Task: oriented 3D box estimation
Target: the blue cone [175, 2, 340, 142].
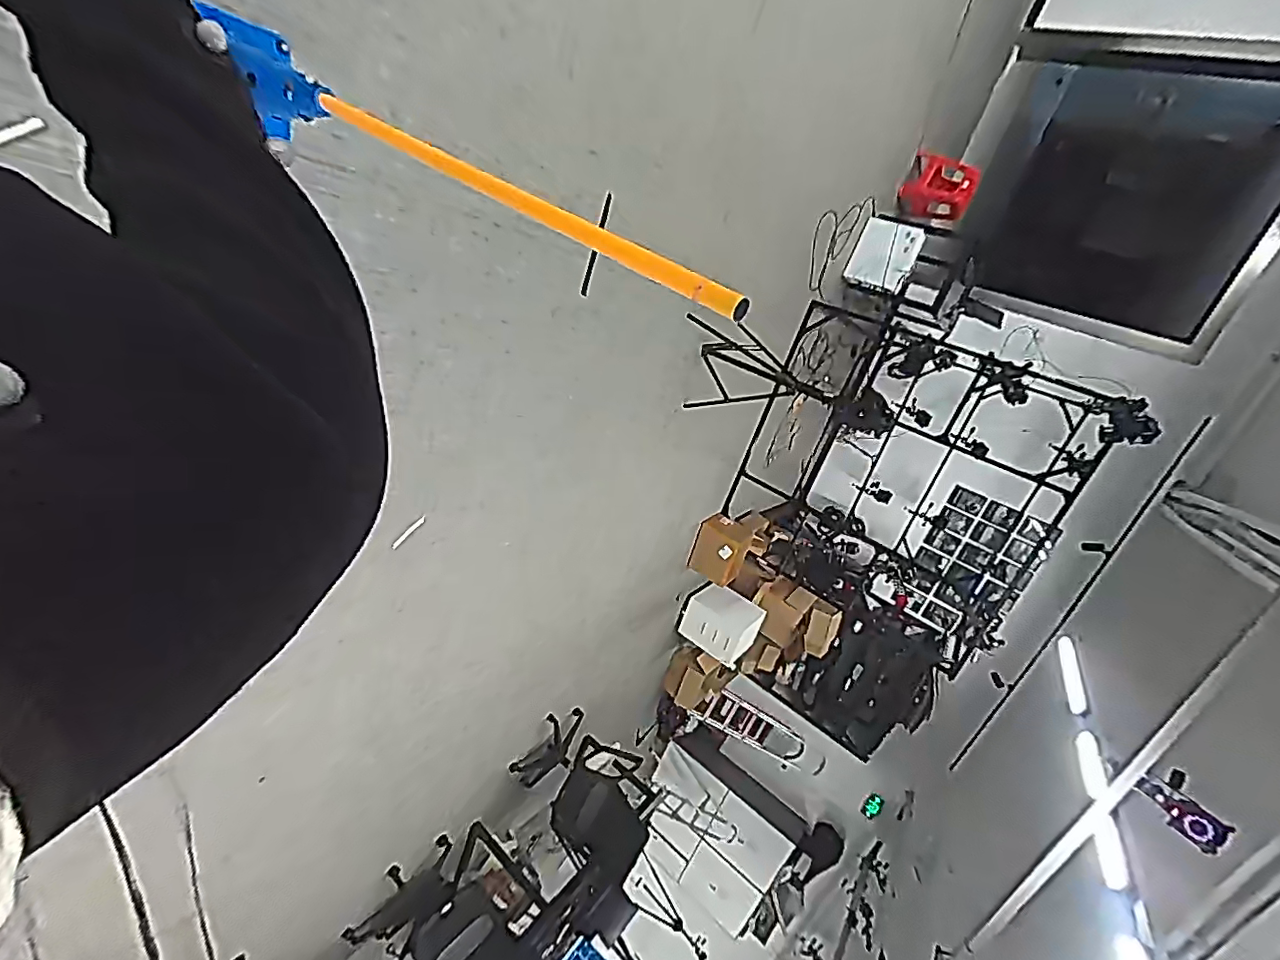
[{"bbox_3d":[-0.656,-0.711,0.979,0.193,0.380,0.192,-17,130,-54],"label":"blue cone"}]
